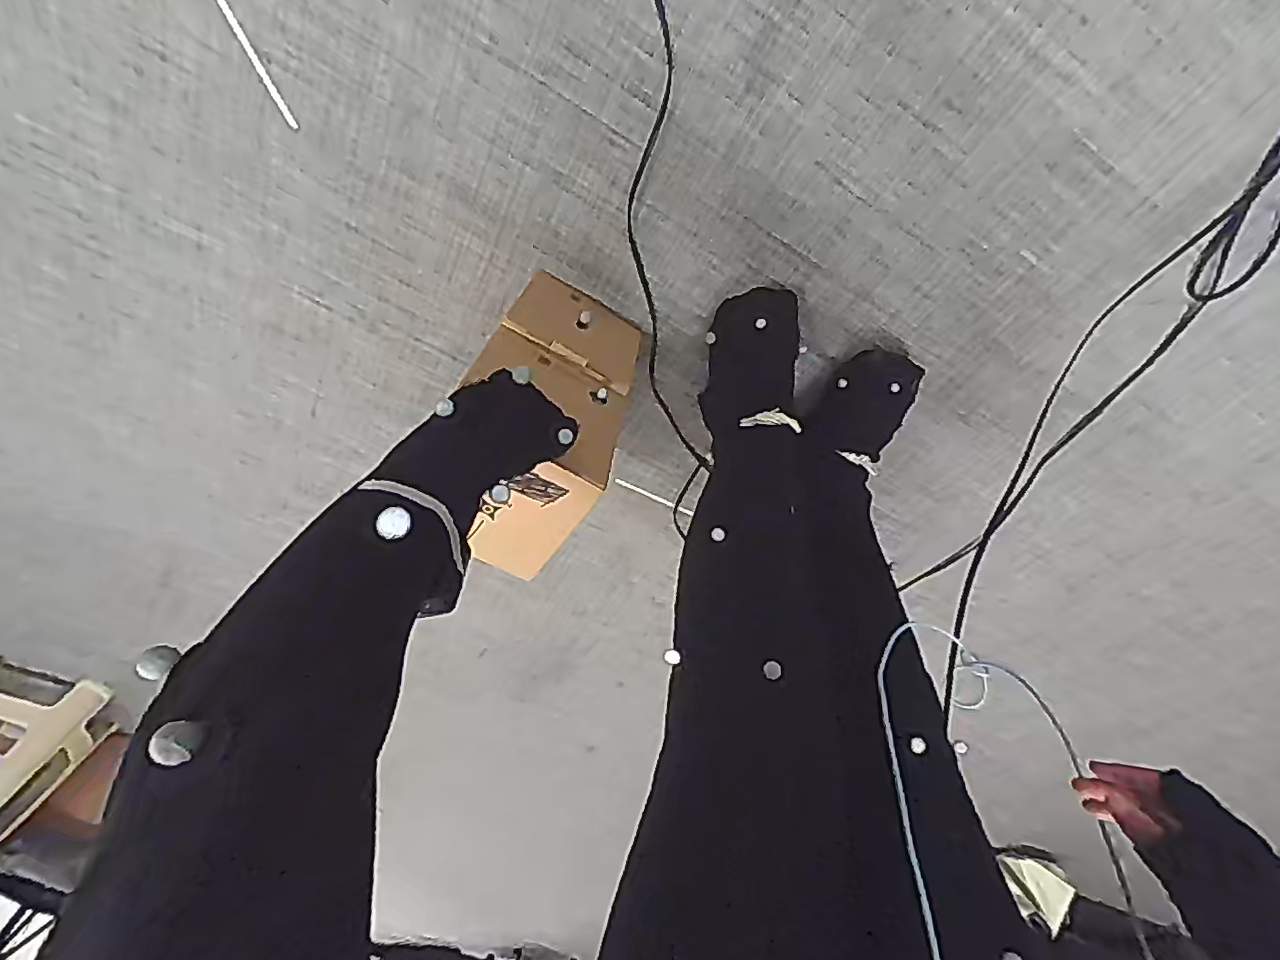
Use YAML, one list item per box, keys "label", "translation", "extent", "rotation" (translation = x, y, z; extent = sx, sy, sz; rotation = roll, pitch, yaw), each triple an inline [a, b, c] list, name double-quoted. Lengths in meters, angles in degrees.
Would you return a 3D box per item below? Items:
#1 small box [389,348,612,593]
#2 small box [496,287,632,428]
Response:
- label: "small box"
  translation: [-0.143, -0.013, 0.600]
  extent: [0.168, 0.176, 0.179]
  rotation: [29, 128, -17]
- label: "small box"
  translation: [-0.121, -0.124, 0.721]
  extent: [0.168, 0.176, 0.179]
  rotation: [28, 126, -17]
